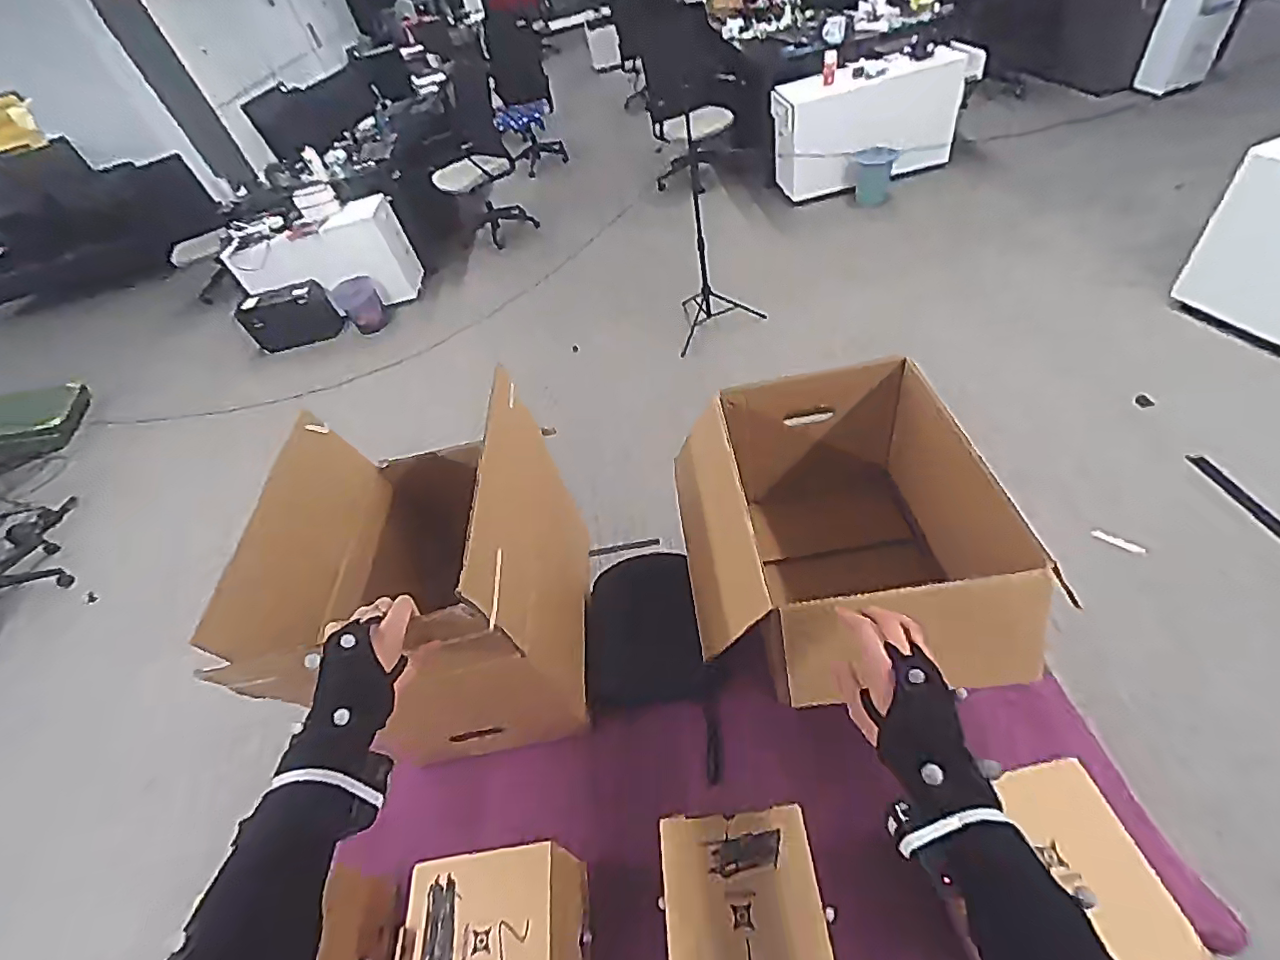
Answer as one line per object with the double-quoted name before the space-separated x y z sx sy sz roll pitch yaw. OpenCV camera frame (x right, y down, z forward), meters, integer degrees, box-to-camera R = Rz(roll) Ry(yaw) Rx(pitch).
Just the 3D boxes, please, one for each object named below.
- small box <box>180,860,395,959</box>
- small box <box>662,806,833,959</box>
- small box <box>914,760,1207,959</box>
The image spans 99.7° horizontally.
"small box" -0.445 0.610 0.685 0.179 0.176 0.168 -14 46 1
"small box" 0.122 0.502 0.627 0.168 0.176 0.179 -10 47 7
"small box" 0.428 0.441 0.596 0.168 0.176 0.179 -15 46 3
